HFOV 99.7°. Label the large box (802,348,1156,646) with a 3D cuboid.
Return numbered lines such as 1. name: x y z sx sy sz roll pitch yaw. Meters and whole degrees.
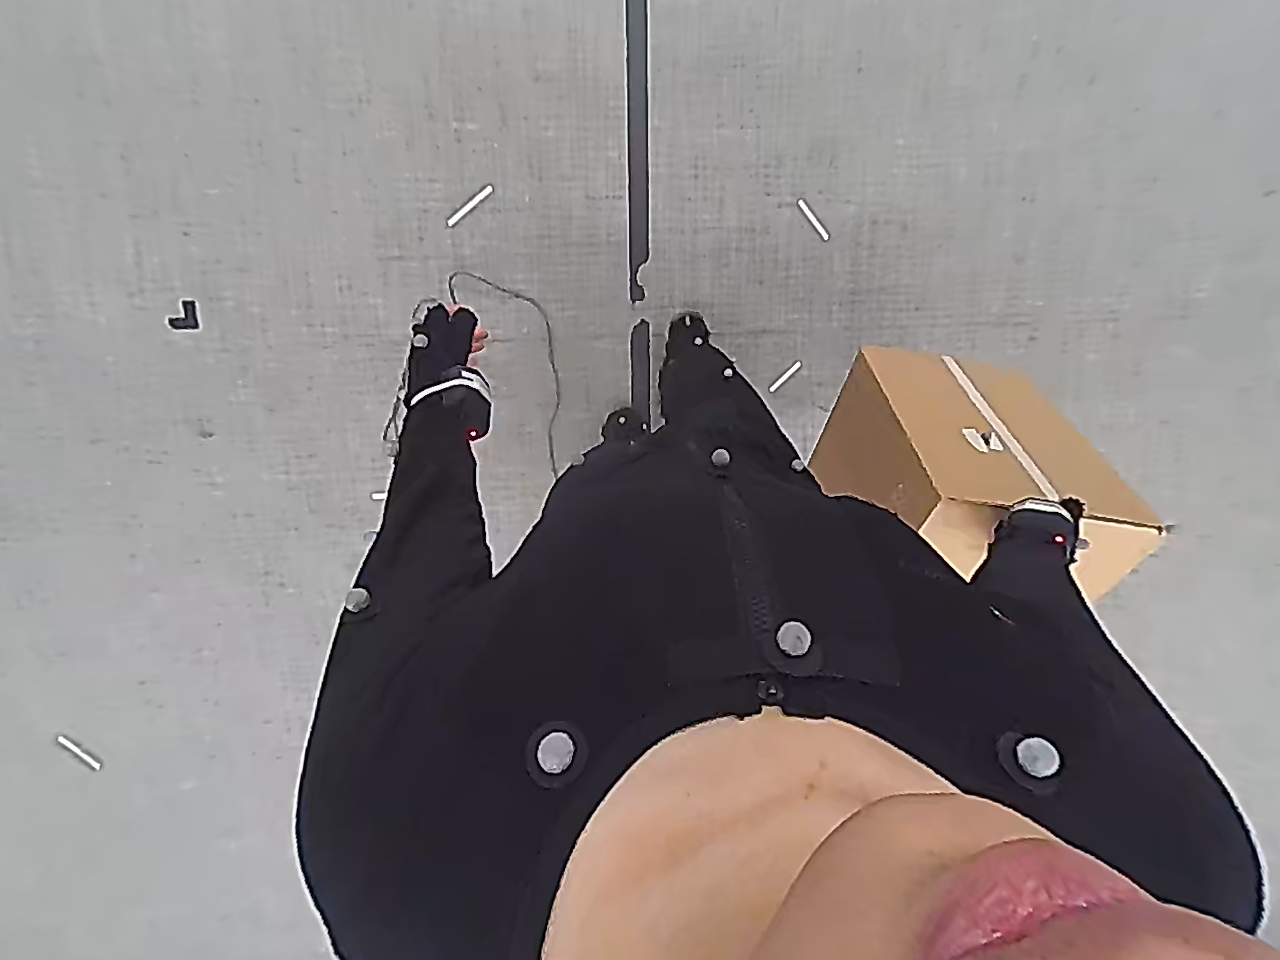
1. large box: 0.517 0.021 0.947 0.320 0.408 0.320 7 133 -4
